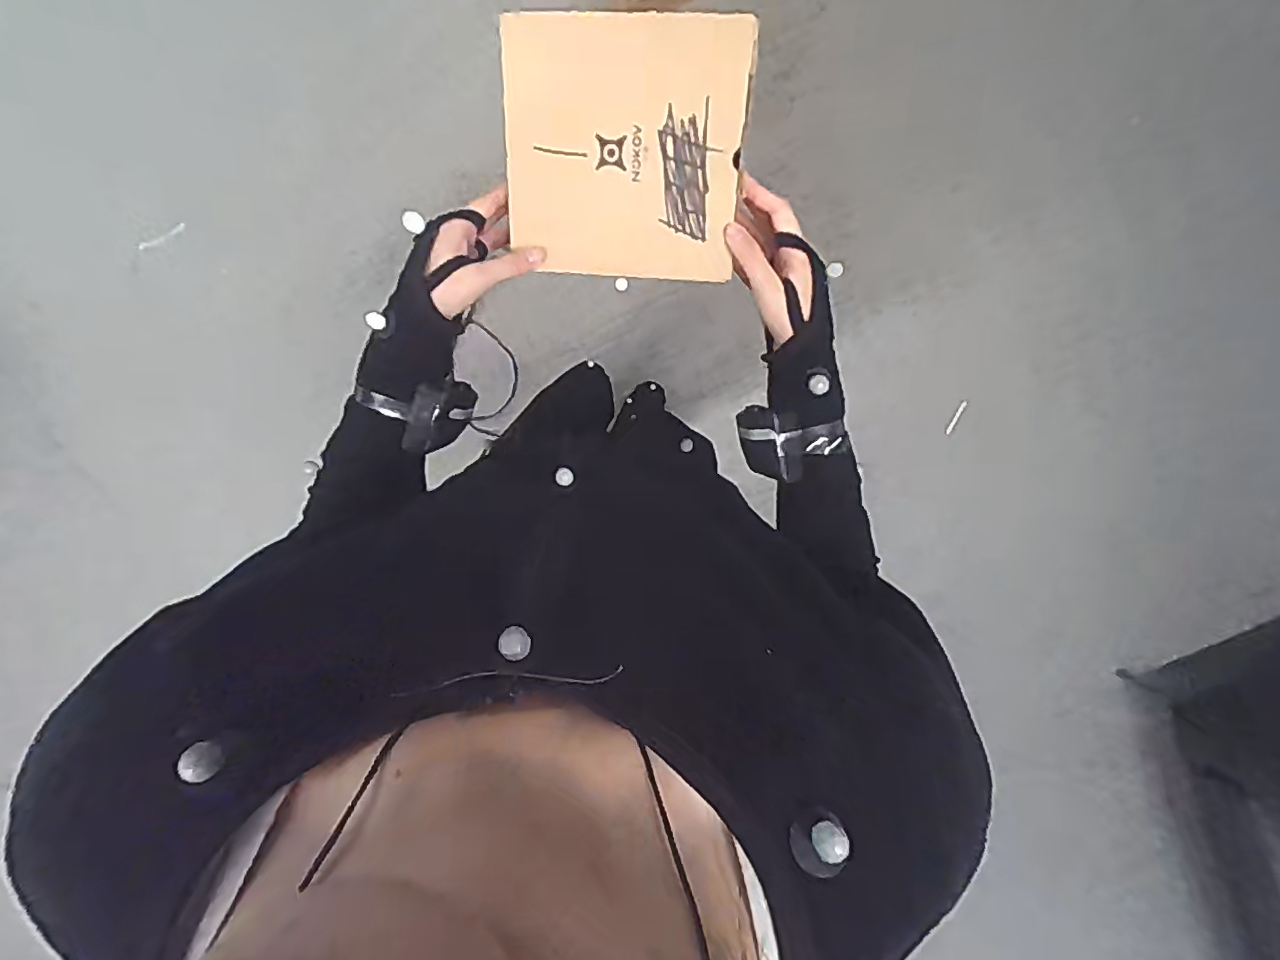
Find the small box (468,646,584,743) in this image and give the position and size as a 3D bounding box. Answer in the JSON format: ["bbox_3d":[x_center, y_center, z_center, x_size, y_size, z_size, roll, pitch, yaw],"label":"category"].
[{"bbox_3d":[-0.237,0.497,1.179,0.179,0.176,0.168,-28,99,3],"label":"small box"}]

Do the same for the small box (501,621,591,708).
[{"bbox_3d":[-0.232,0.480,1.342,0.179,0.176,0.168,-26,99,3],"label":"small box"}]
